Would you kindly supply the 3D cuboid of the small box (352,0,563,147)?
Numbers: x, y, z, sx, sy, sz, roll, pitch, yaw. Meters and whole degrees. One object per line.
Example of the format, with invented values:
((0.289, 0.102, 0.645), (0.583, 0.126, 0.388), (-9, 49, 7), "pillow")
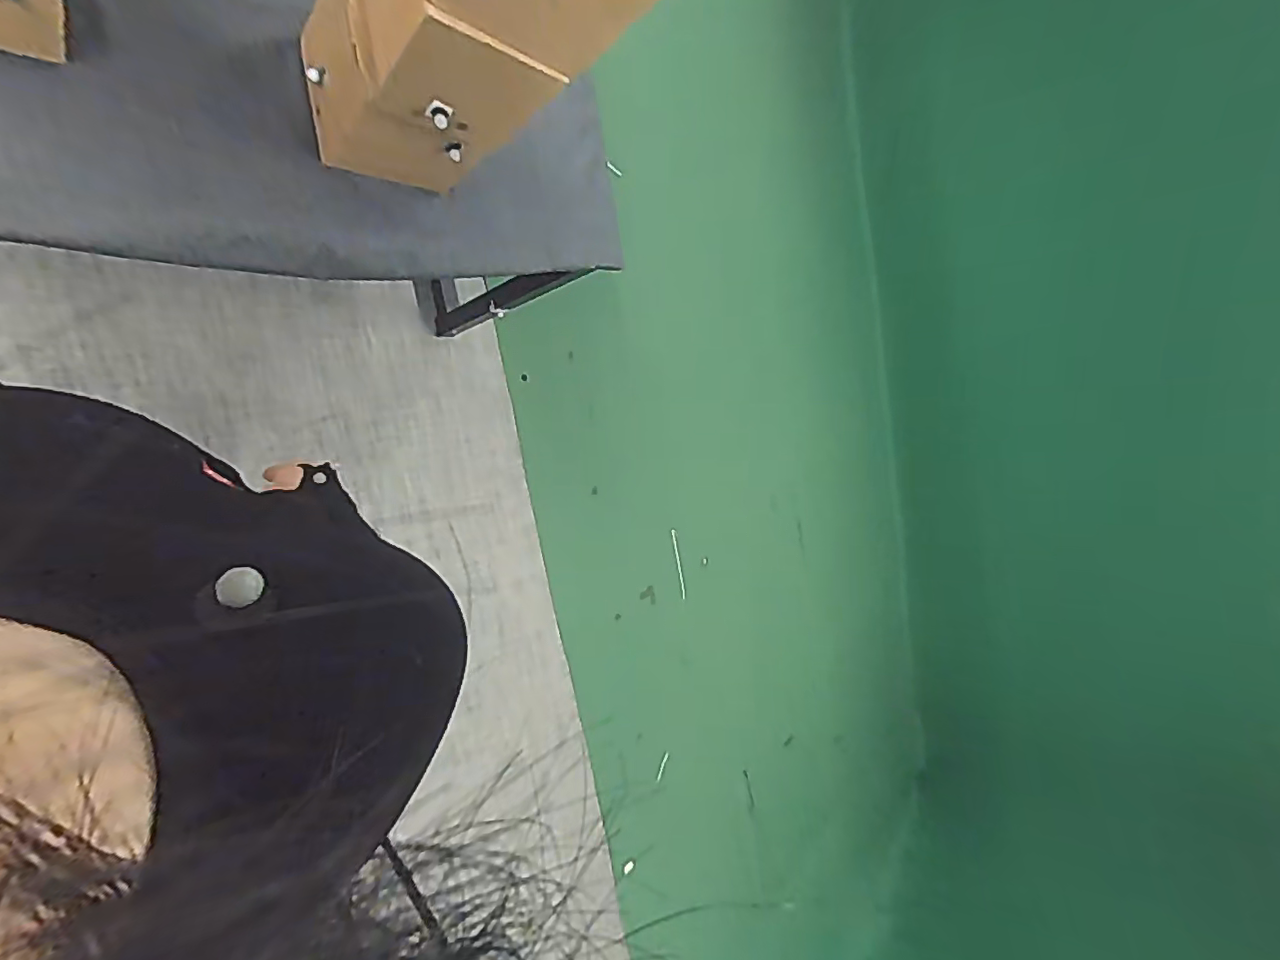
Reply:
((-0.207, -0.516, 0.599), (0.168, 0.176, 0.179), (-9, 96, -43), "small box")

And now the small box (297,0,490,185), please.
((-0.322, -0.518, 0.714), (0.179, 0.176, 0.168), (-12, 96, -45), "small box")

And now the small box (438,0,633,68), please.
((-0.091, -0.524, 0.484), (0.179, 0.176, 0.168), (-7, 93, -43), "small box")
